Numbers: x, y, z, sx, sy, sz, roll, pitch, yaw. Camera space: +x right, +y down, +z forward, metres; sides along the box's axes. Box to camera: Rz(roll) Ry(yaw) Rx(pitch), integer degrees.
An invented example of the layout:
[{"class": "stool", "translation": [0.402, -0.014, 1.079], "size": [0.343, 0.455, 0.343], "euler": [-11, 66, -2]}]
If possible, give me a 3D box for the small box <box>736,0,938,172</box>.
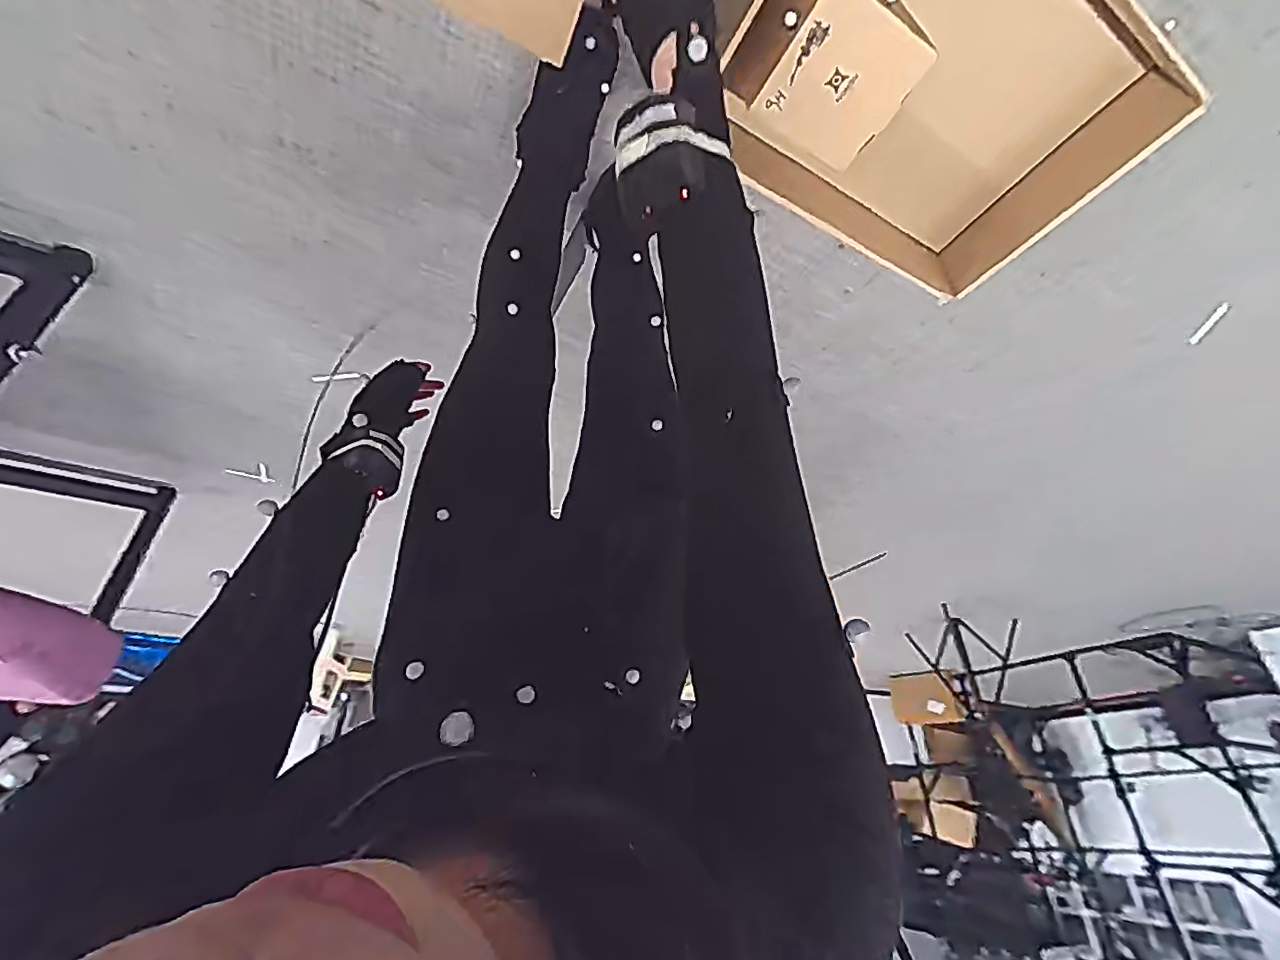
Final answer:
[{"class": "small box", "translation": [0.252, -0.569, 0.725], "size": [0.179, 0.176, 0.168], "euler": [15, 144, -25]}]
